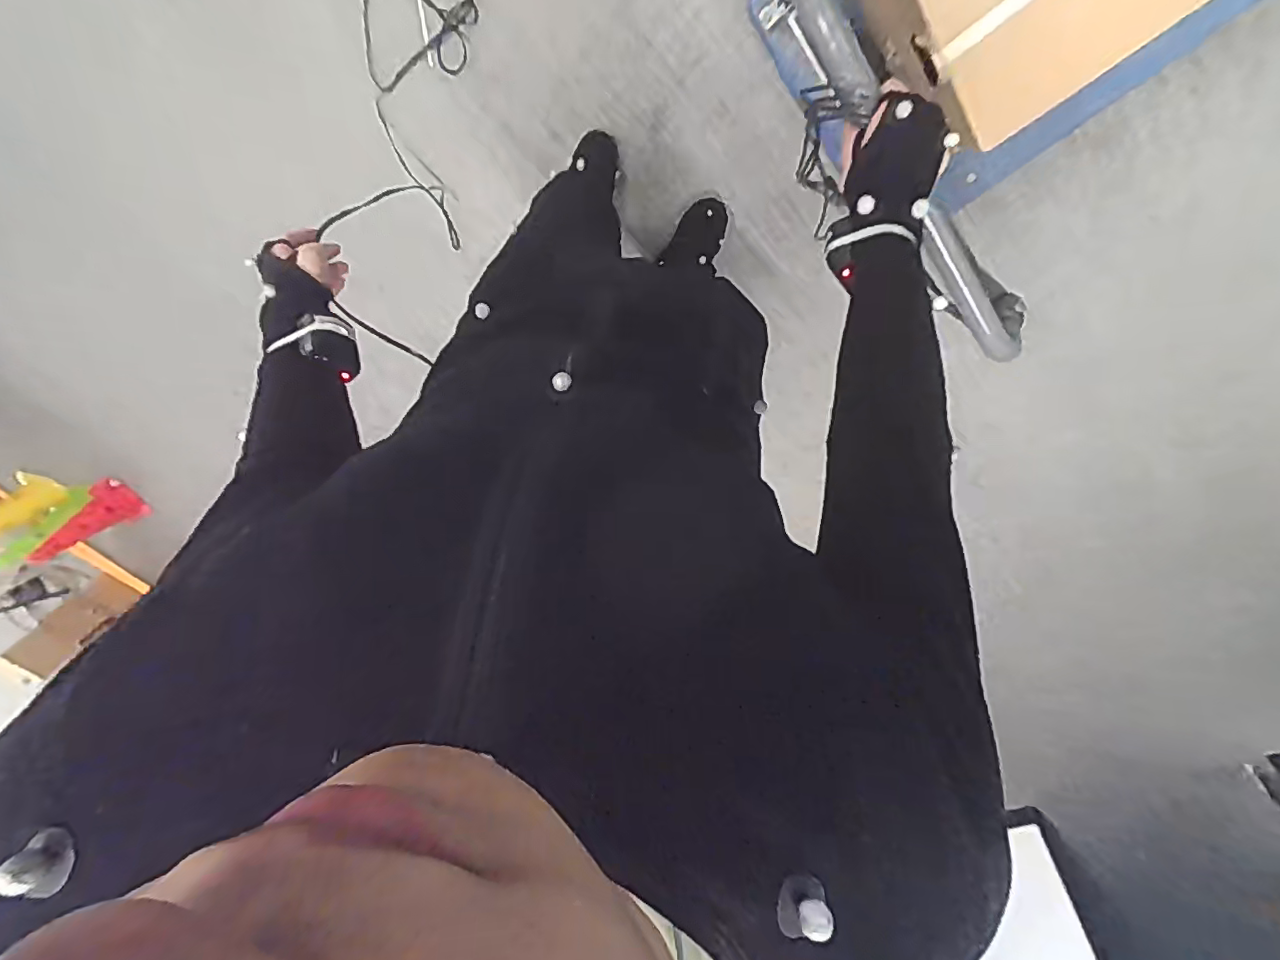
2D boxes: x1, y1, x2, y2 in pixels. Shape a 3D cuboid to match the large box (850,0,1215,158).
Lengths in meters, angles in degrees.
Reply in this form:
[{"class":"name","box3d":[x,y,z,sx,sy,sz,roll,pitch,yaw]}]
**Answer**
[{"class":"large box","box3d":[0.595,-0.766,0.805,0.408,0.320,0.320,-31,116,25]}]
